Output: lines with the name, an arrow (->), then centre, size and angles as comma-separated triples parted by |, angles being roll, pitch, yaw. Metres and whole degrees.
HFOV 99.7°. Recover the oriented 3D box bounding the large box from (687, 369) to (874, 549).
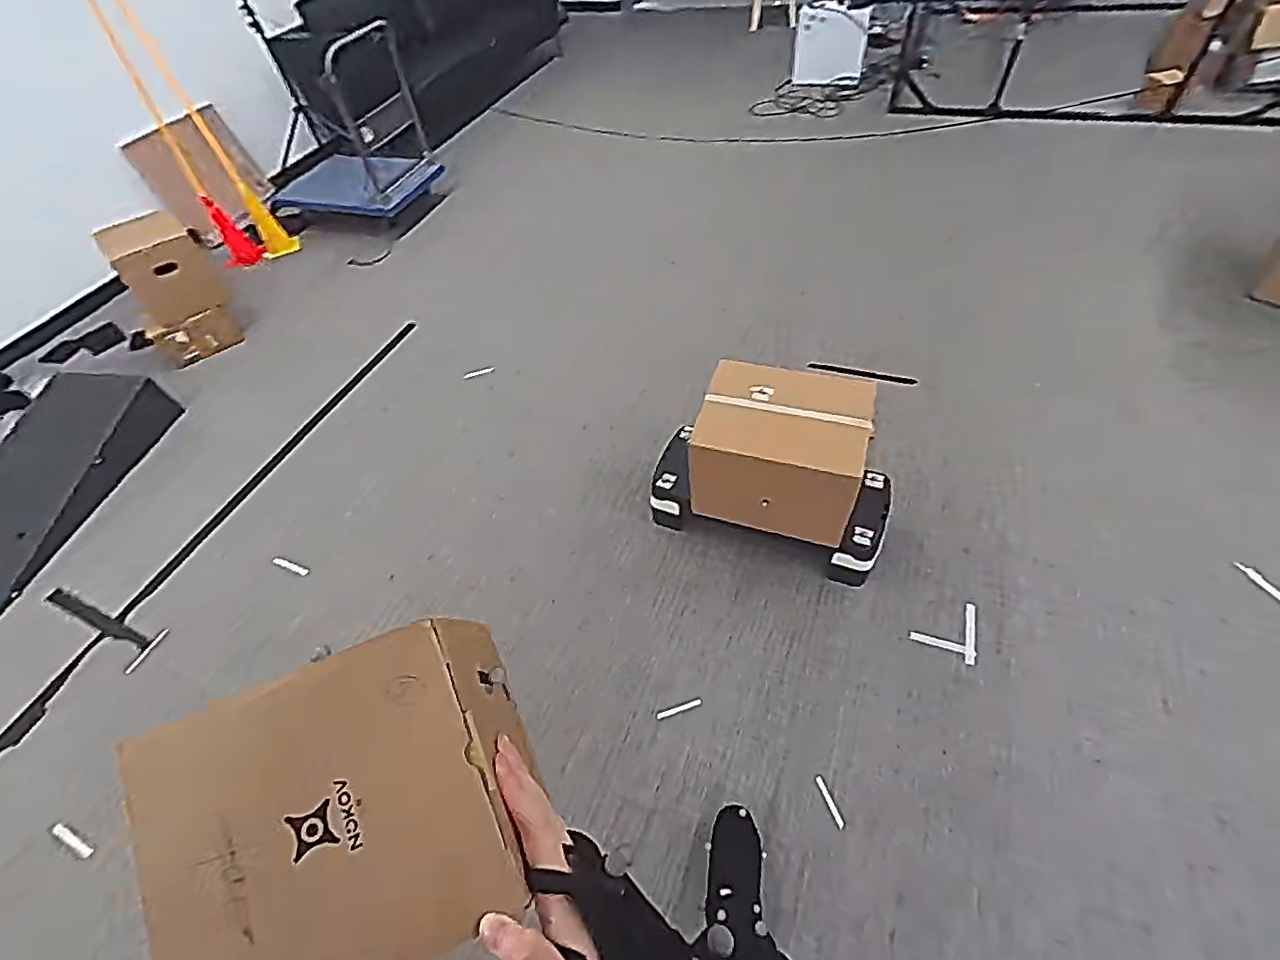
large box -> 0.367, -0.055, 1.430 | 0.408, 0.320, 0.320 | 12, 54, 18
